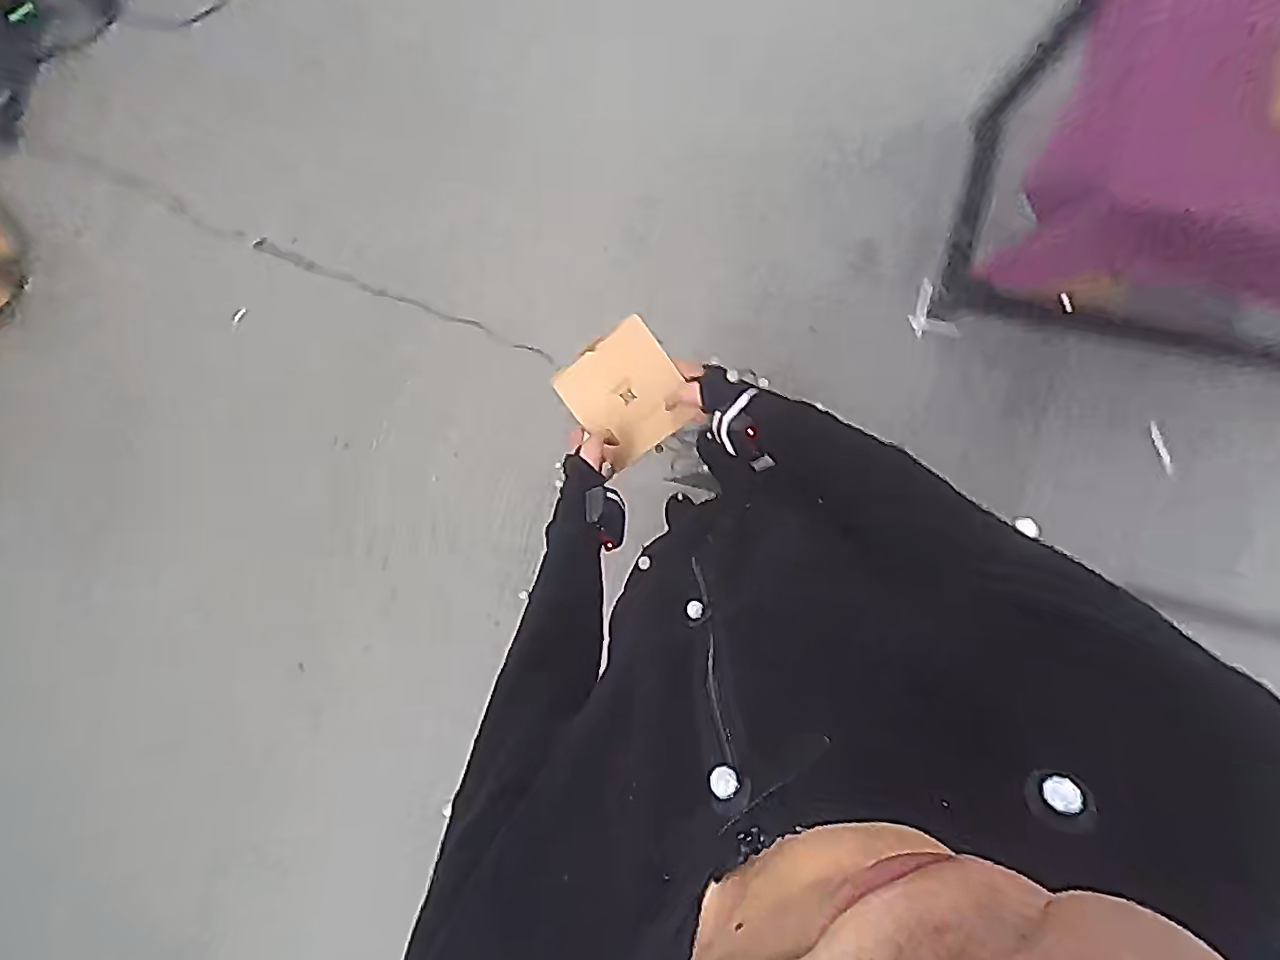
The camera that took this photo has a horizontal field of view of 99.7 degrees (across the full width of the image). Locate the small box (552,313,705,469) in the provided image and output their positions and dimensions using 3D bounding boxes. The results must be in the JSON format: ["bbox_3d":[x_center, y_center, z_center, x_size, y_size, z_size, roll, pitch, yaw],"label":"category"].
[{"bbox_3d":[-0.012,-0.137,0.876,0.168,0.176,0.179,-35,93,8],"label":"small box"}]
